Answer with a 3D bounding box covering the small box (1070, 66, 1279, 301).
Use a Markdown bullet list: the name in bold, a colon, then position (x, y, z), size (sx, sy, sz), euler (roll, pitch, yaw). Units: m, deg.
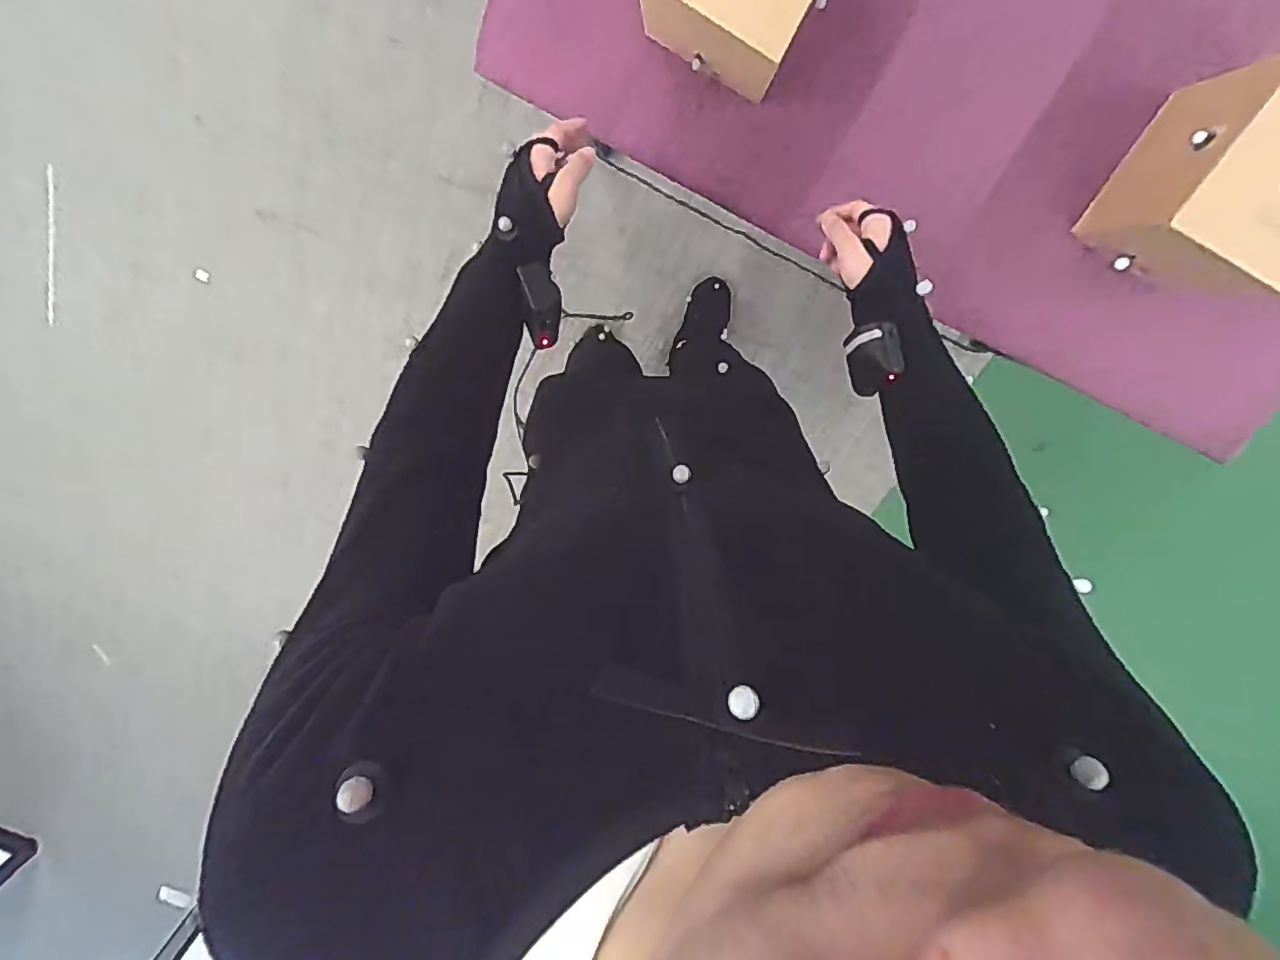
- **small box**: position (0.661, -0.328, 0.619), size (0.168, 0.176, 0.179), euler (28, 111, -5)
